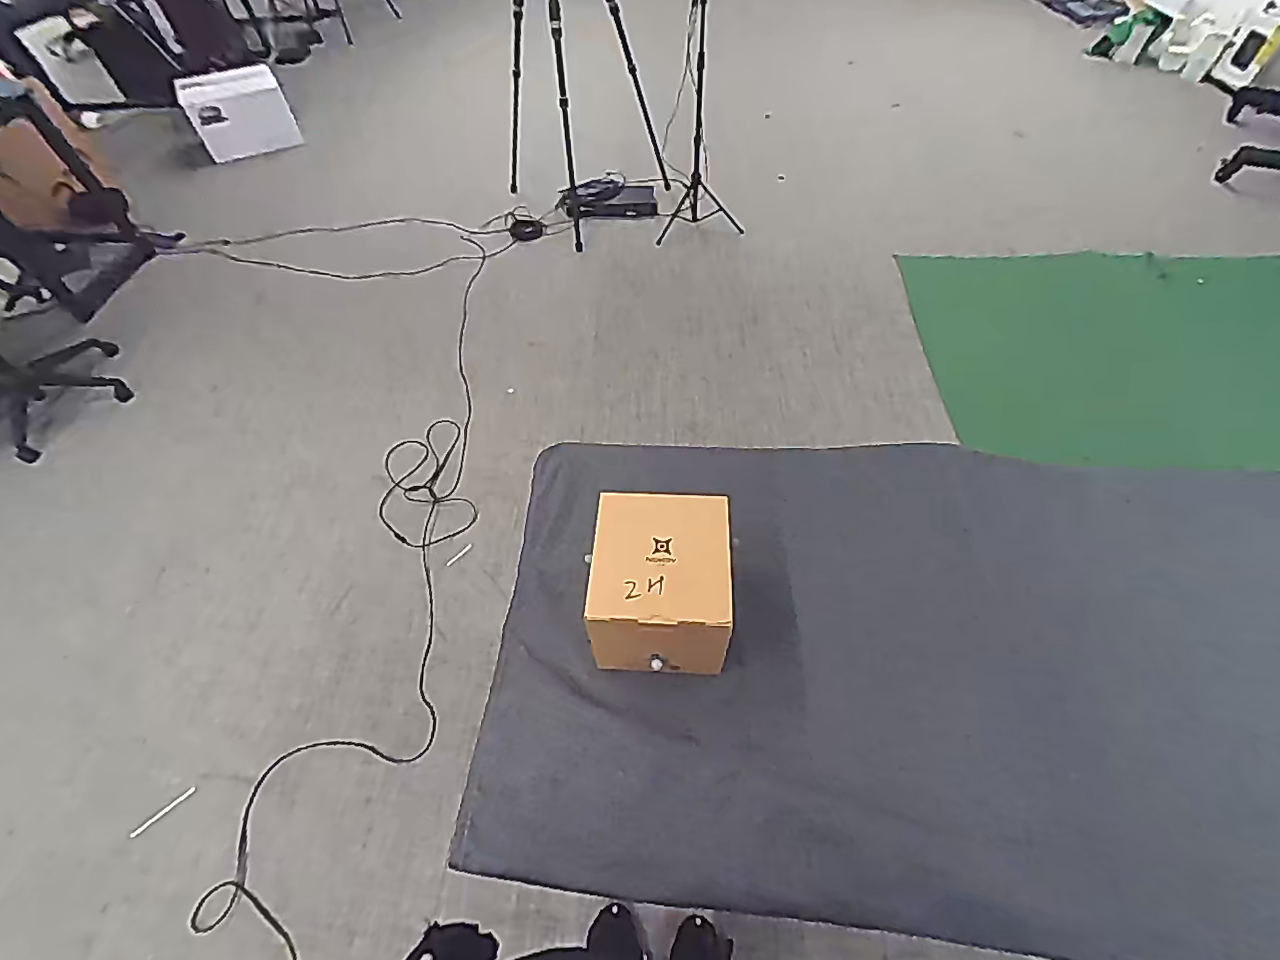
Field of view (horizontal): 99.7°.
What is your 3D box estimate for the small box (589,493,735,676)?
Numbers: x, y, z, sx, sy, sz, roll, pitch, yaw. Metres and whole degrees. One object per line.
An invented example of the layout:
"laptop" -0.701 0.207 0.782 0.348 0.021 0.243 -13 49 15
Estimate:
"small box" 0.031 0.138 0.710 0.168 0.176 0.179 2 52 4
